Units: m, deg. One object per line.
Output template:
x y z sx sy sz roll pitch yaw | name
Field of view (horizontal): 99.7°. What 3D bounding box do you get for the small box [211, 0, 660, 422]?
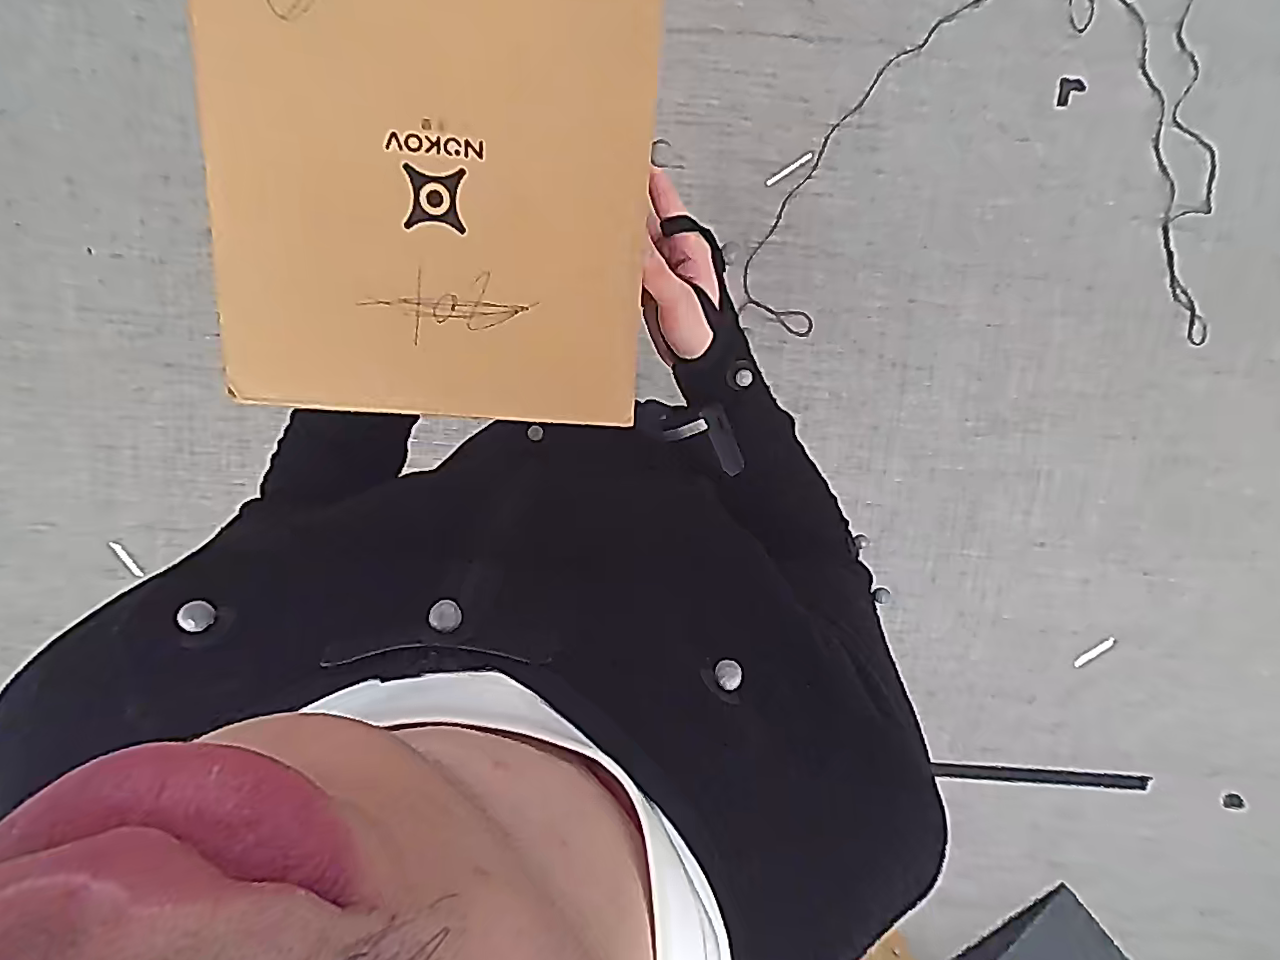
-0.087 -0.135 0.296 0.168 0.176 0.179 4 104 -5 | small box
